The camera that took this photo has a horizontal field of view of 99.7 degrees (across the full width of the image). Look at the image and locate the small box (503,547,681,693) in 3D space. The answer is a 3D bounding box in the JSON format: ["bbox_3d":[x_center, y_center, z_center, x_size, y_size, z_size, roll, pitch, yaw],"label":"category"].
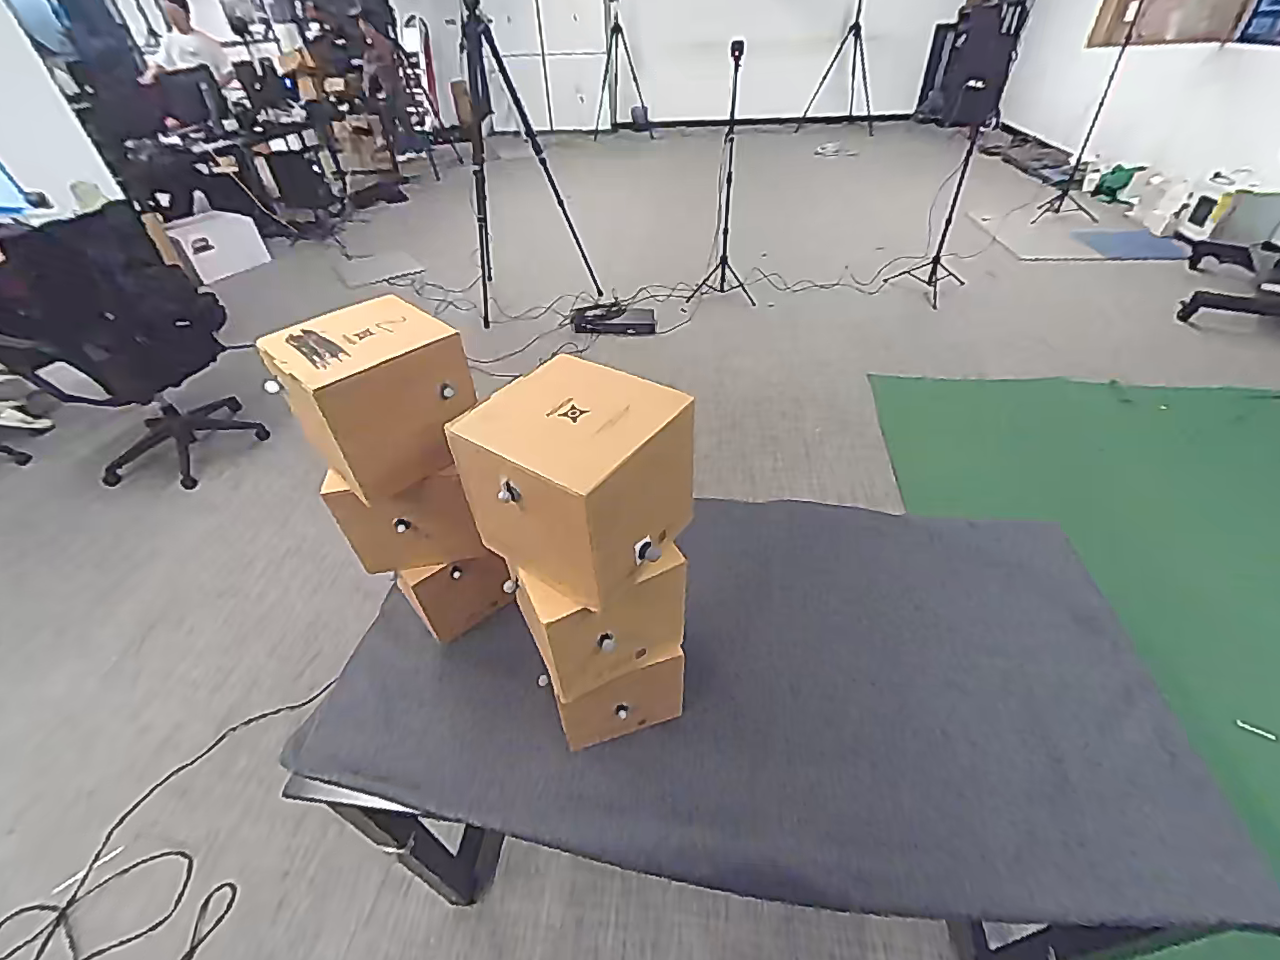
[{"bbox_3d":[-0.060,0.130,0.659,0.168,0.176,0.179,-21,44,-19],"label":"small box"}]

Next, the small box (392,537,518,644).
[{"bbox_3d":[-0.321,0.138,0.913,0.168,0.176,0.179,-32,49,-29],"label":"small box"}]

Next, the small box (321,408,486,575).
[{"bbox_3d":[-0.328,0.018,0.800,0.179,0.176,0.168,-9,43,-6],"label":"small box"}]

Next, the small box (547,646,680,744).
[{"bbox_3d":[-0.047,0.248,0.770,0.168,0.176,0.179,-13,42,-12],"label":"small box"}]

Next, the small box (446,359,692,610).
[{"bbox_3d":[-0.062,0.002,0.559,0.179,0.176,0.168,24,49,28],"label":"small box"}]
